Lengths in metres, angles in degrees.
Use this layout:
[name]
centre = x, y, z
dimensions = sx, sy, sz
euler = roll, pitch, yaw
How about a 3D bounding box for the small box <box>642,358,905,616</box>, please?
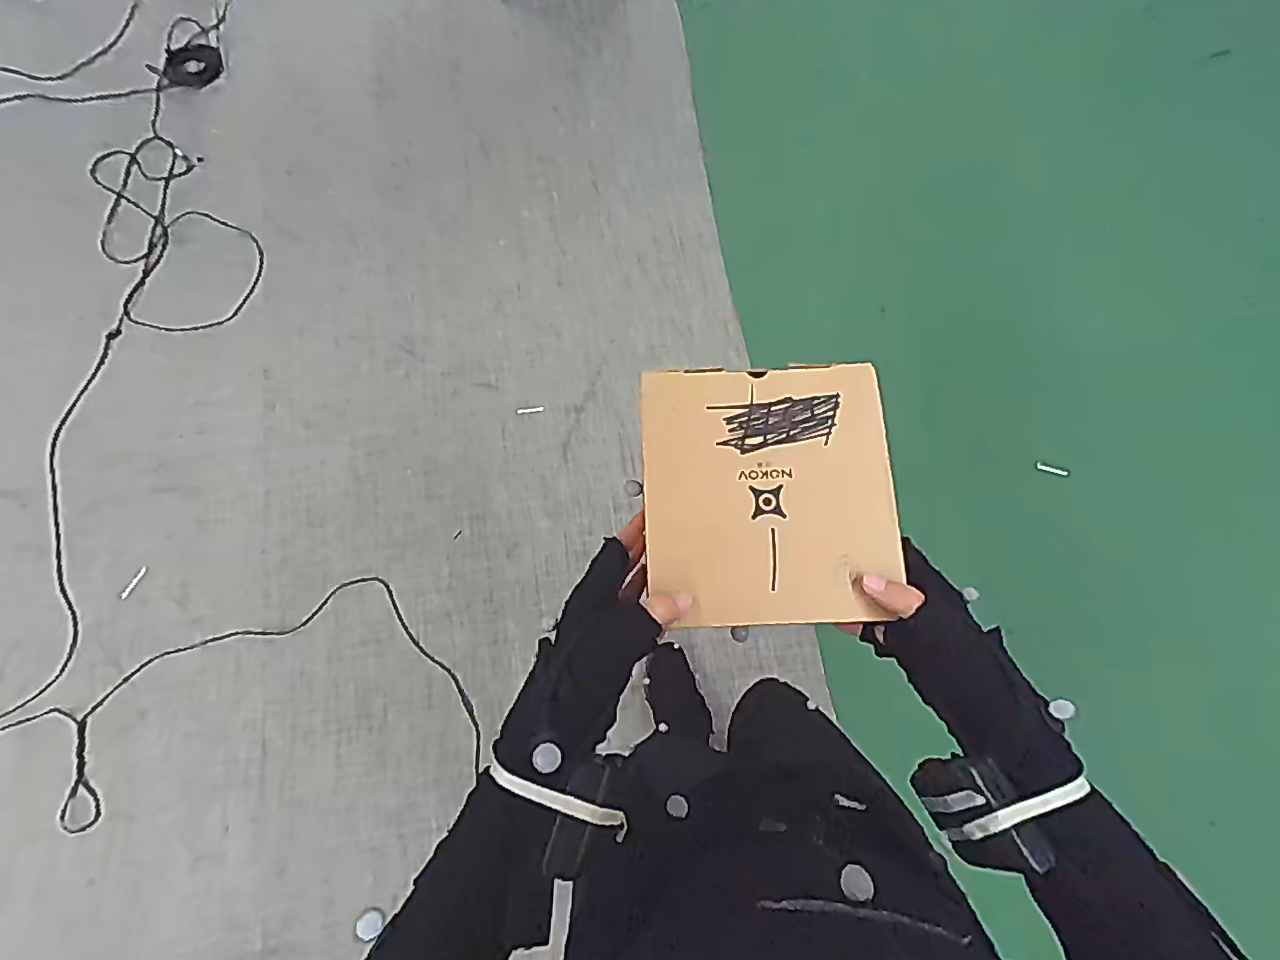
[small box]
centre = 0.085, 0.018, 0.440
dimensions = 0.168, 0.176, 0.179
euler = -2, 77, 0
